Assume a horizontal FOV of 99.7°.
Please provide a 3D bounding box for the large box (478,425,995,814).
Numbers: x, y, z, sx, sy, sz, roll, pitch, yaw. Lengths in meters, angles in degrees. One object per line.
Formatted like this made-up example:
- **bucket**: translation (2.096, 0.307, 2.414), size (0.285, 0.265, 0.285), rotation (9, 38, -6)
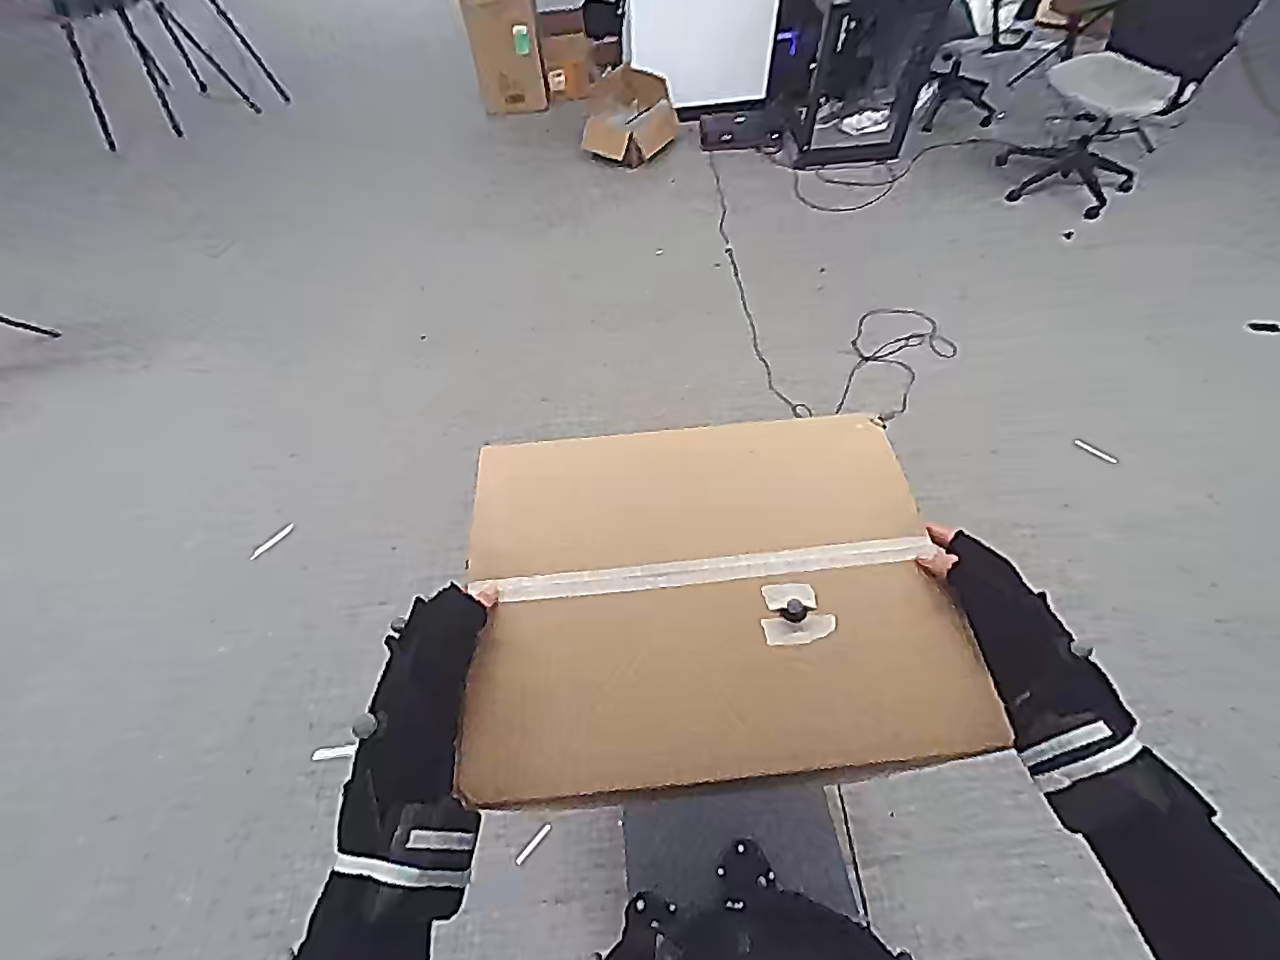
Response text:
- **large box**: translation (0.063, 0.169, 0.608), size (0.408, 0.320, 0.320), rotation (-5, 57, -2)
